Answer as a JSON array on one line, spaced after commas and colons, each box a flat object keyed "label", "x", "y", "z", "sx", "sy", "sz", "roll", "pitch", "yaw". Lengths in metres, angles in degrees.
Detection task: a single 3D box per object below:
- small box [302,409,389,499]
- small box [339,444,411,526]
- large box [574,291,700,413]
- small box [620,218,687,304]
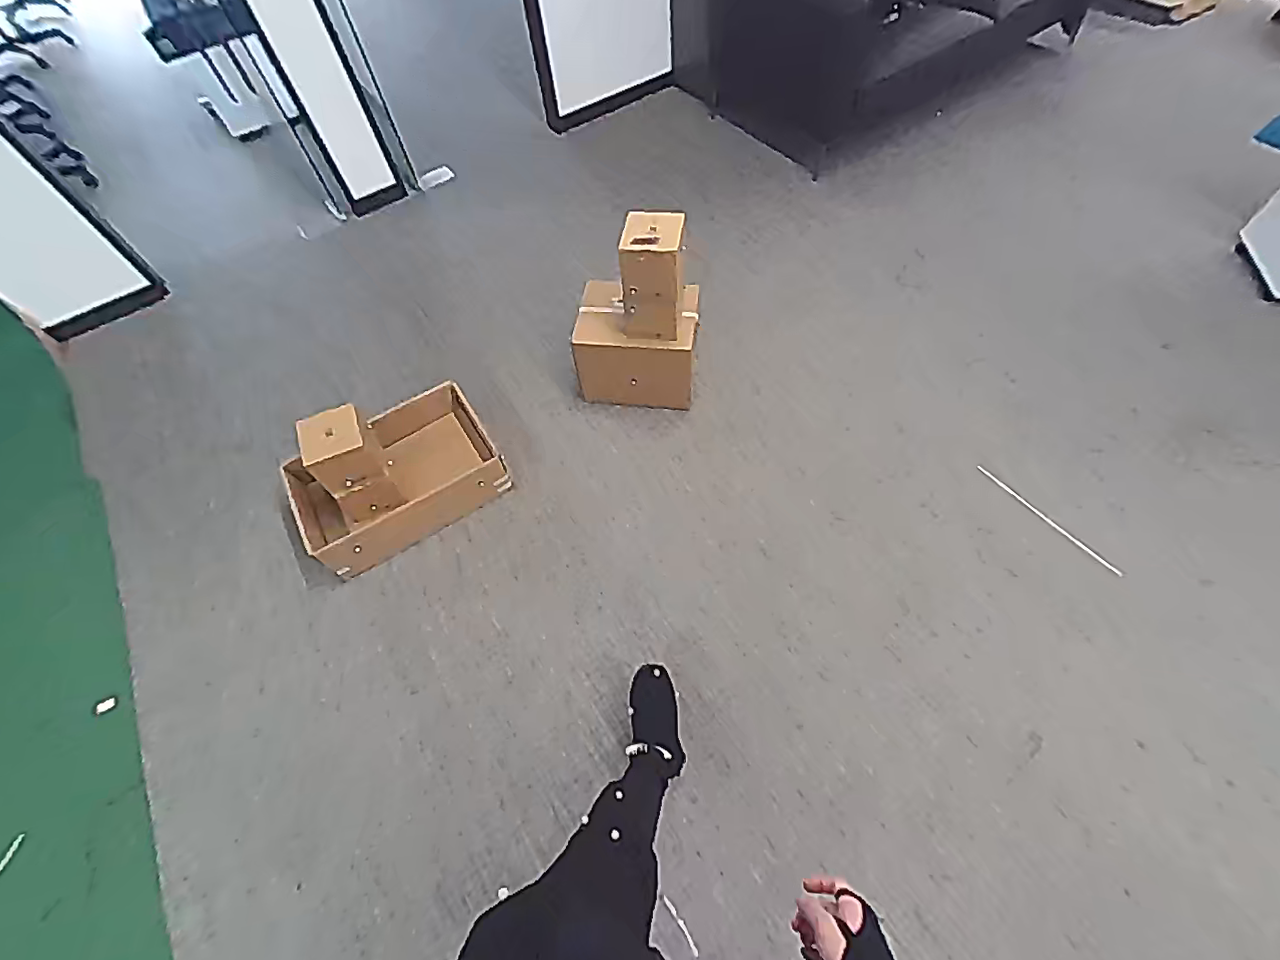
[{"label": "small box", "x": -0.879, "y": -0.075, "z": 1.621, "sx": 0.168, "sy": 0.176, "sz": 0.179, "roll": -23, "pitch": 60, "yaw": -12}, {"label": "small box", "x": -0.872, "y": 0.018, "z": 1.755, "sx": 0.168, "sy": 0.176, "sz": 0.179, "roll": -26, "pitch": 61, "yaw": -15}, {"label": "large box", "x": 0.009, "y": -0.459, "z": 1.959, "sx": 0.408, "sy": 0.320, "sz": 0.320, "roll": 4, "pitch": 58, "yaw": 9}, {"label": "small box", "x": 0.046, "y": -0.638, "z": 1.583, "sx": 0.168, "sy": 0.176, "sz": 0.179, "roll": 6, "pitch": 58, "yaw": 9}]
